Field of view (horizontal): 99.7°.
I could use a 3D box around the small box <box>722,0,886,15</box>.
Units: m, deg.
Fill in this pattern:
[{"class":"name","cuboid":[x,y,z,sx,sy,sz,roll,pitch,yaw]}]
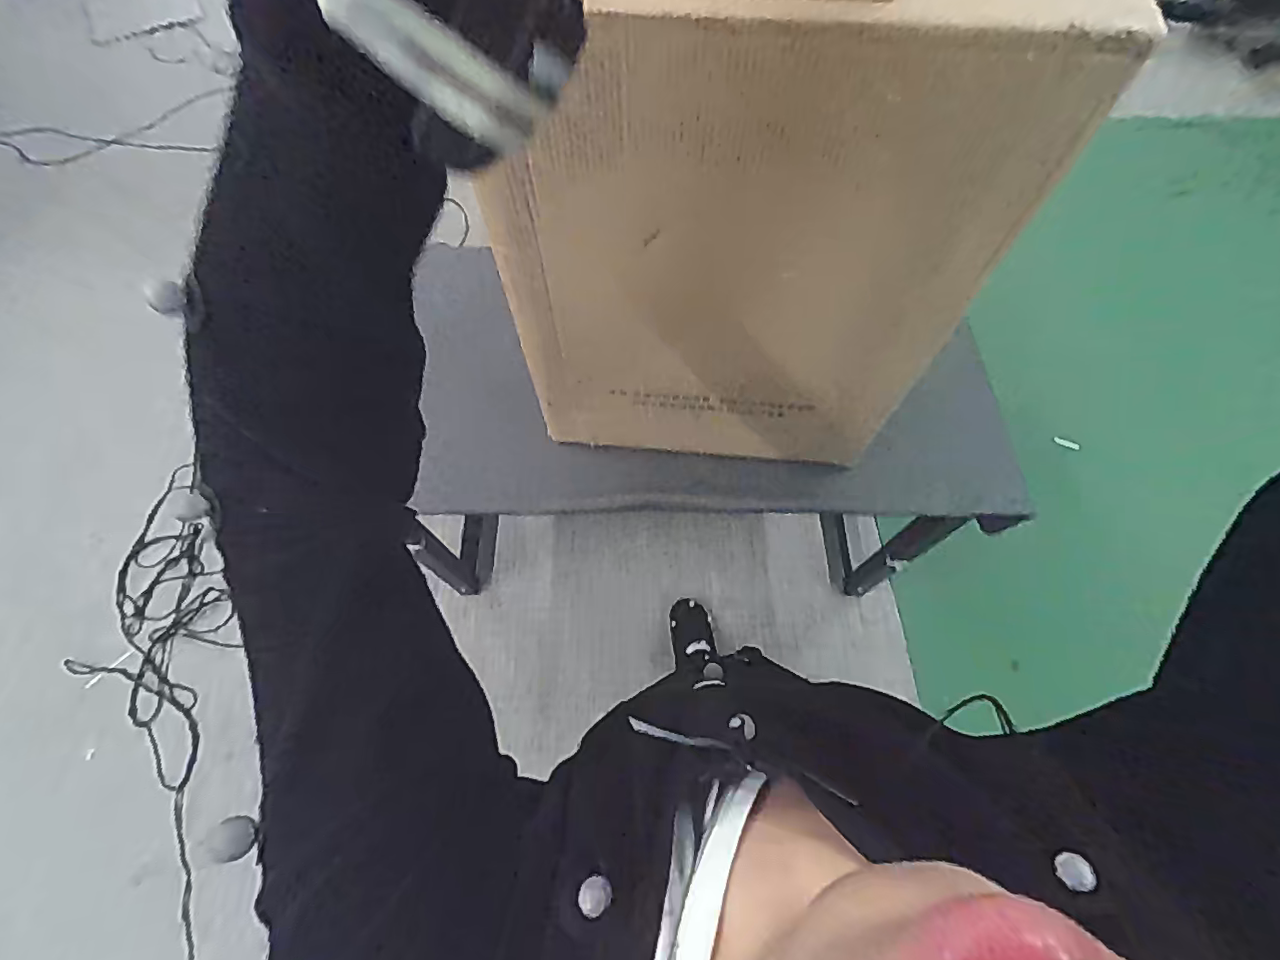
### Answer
[{"class":"small box","cuboid":[0.105,-0.447,0.353,0.168,0.176,0.179,6,65,3]}]
